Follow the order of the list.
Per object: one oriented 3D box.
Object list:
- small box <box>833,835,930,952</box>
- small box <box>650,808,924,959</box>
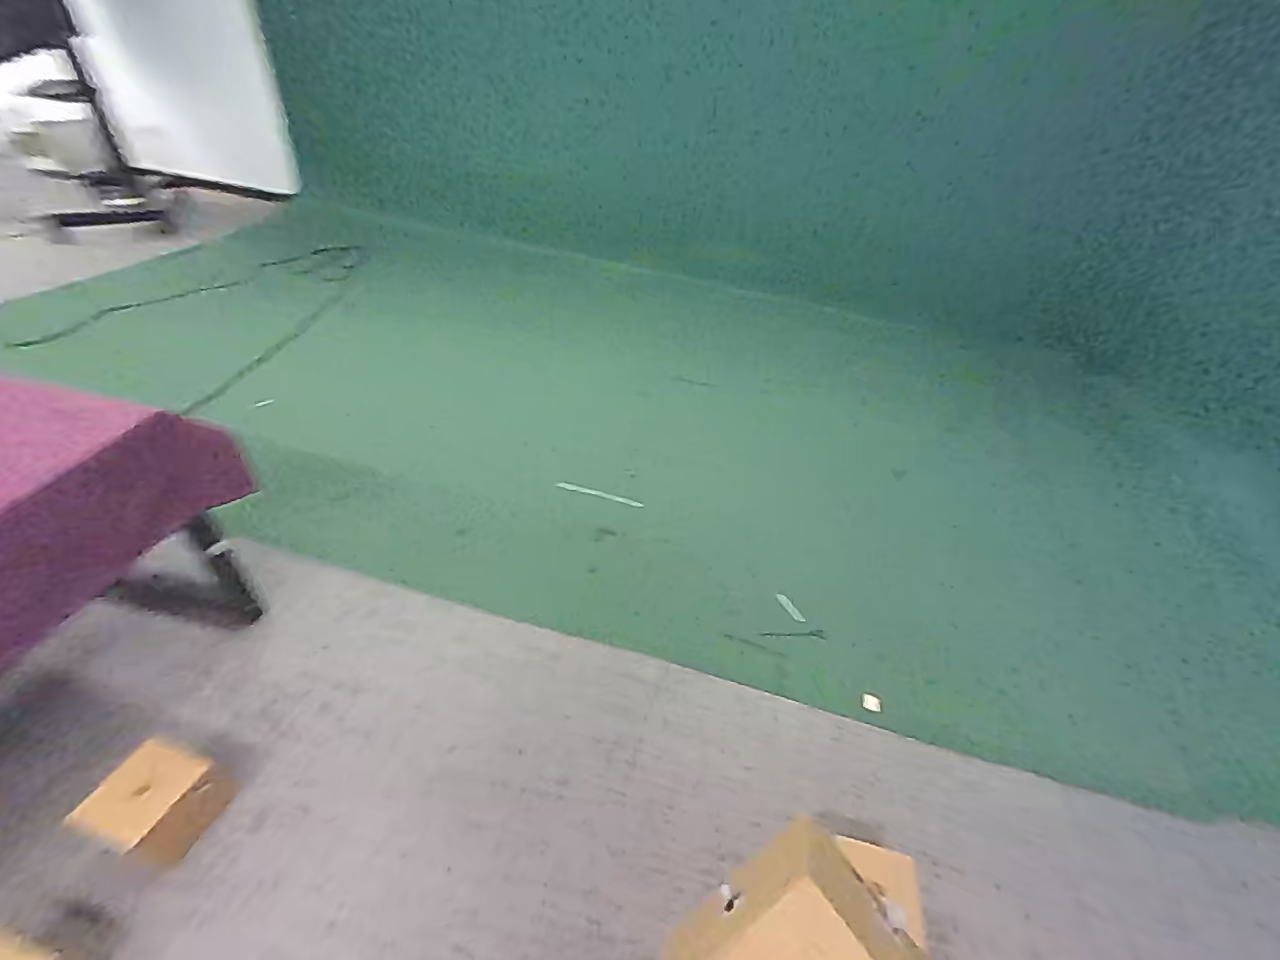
[{"bbox_3d":[0.497,0.913,1.177,0.179,0.176,0.168,13,42,7],"label":"small box"},{"bbox_3d":[0.116,0.401,0.419,0.179,0.176,0.168,-43,67,0],"label":"small box"}]
